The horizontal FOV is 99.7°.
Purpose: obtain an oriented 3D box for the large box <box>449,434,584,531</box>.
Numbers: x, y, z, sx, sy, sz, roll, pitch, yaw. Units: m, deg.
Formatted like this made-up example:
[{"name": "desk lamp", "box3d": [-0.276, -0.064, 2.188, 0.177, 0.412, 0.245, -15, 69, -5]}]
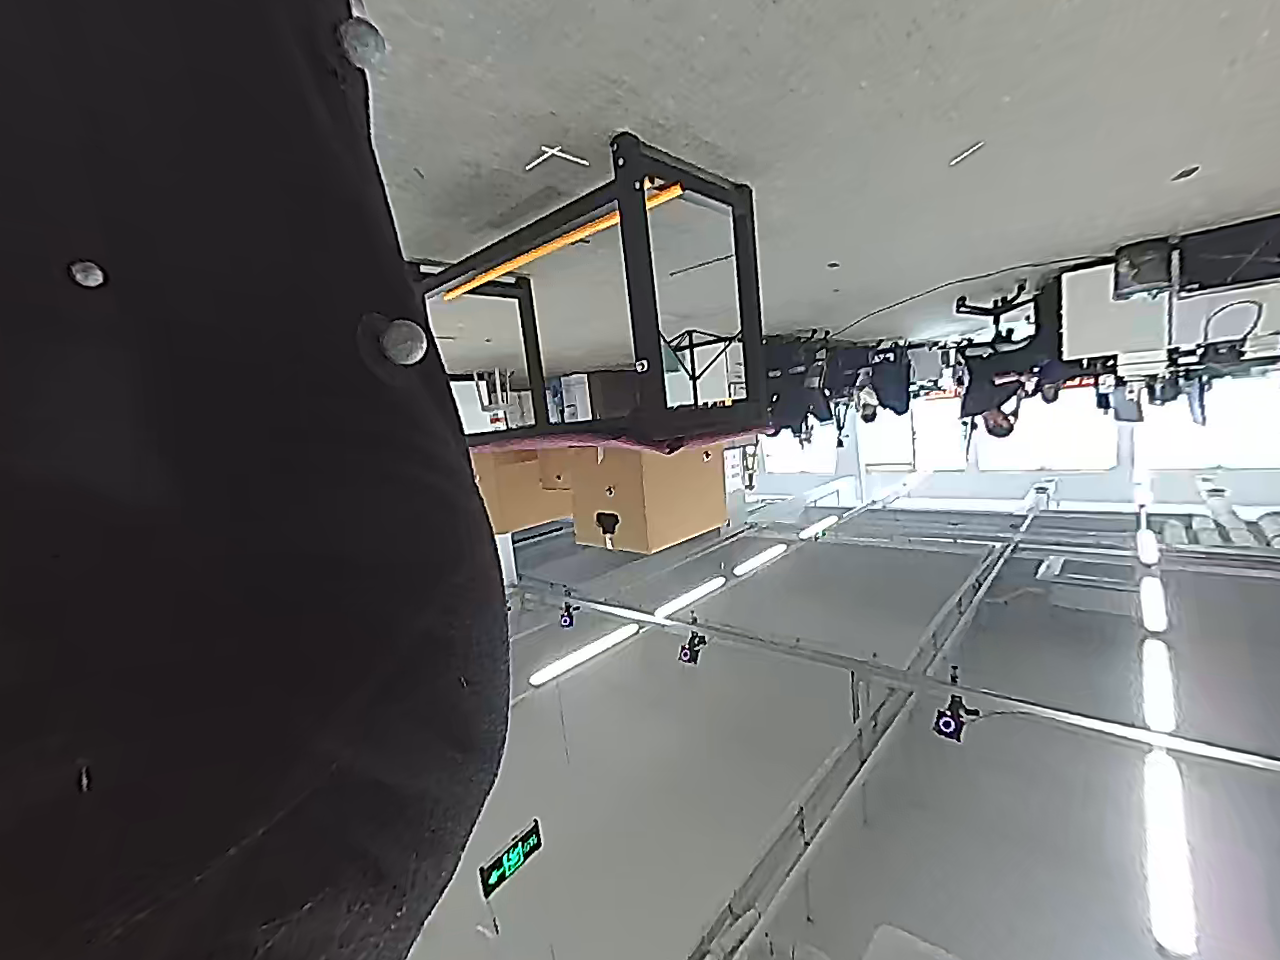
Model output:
[{"name": "large box", "box3d": [-0.493, 0.001, 2.174, 0.320, 0.320, 0.408, 1, -169, 42]}]
